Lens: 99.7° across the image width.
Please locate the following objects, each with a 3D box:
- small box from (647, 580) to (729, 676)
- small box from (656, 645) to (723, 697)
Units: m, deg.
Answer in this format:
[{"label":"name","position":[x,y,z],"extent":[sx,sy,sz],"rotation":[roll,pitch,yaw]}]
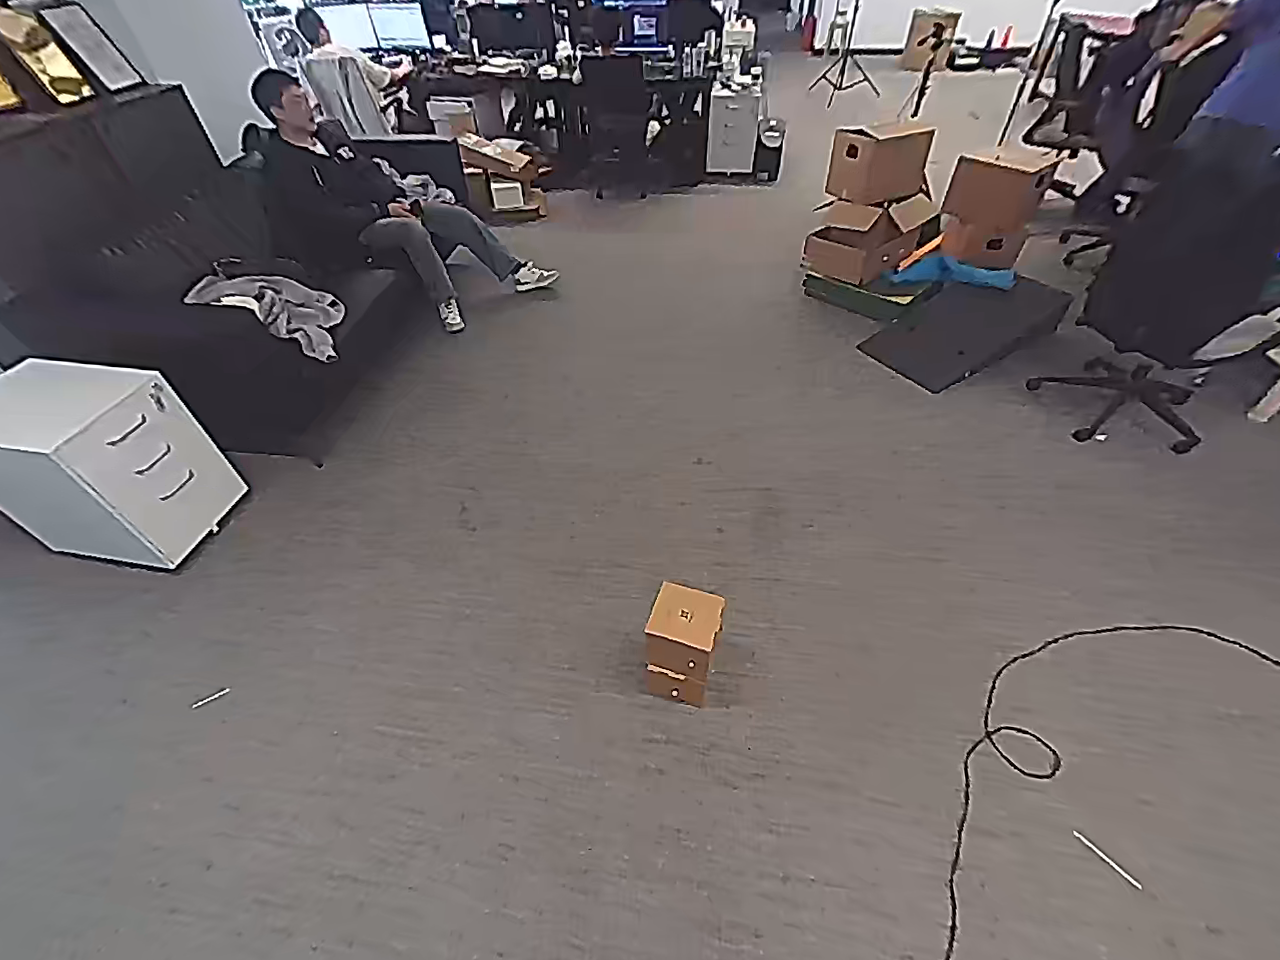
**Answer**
[{"label":"small box","position":[0.130,0.402,1.459],"extent":[0.179,0.176,0.168],"rotation":[13,46,17]},{"label":"small box","position":[0.134,0.507,1.574],"extent":[0.179,0.176,0.168],"rotation":[-13,44,-7]}]
